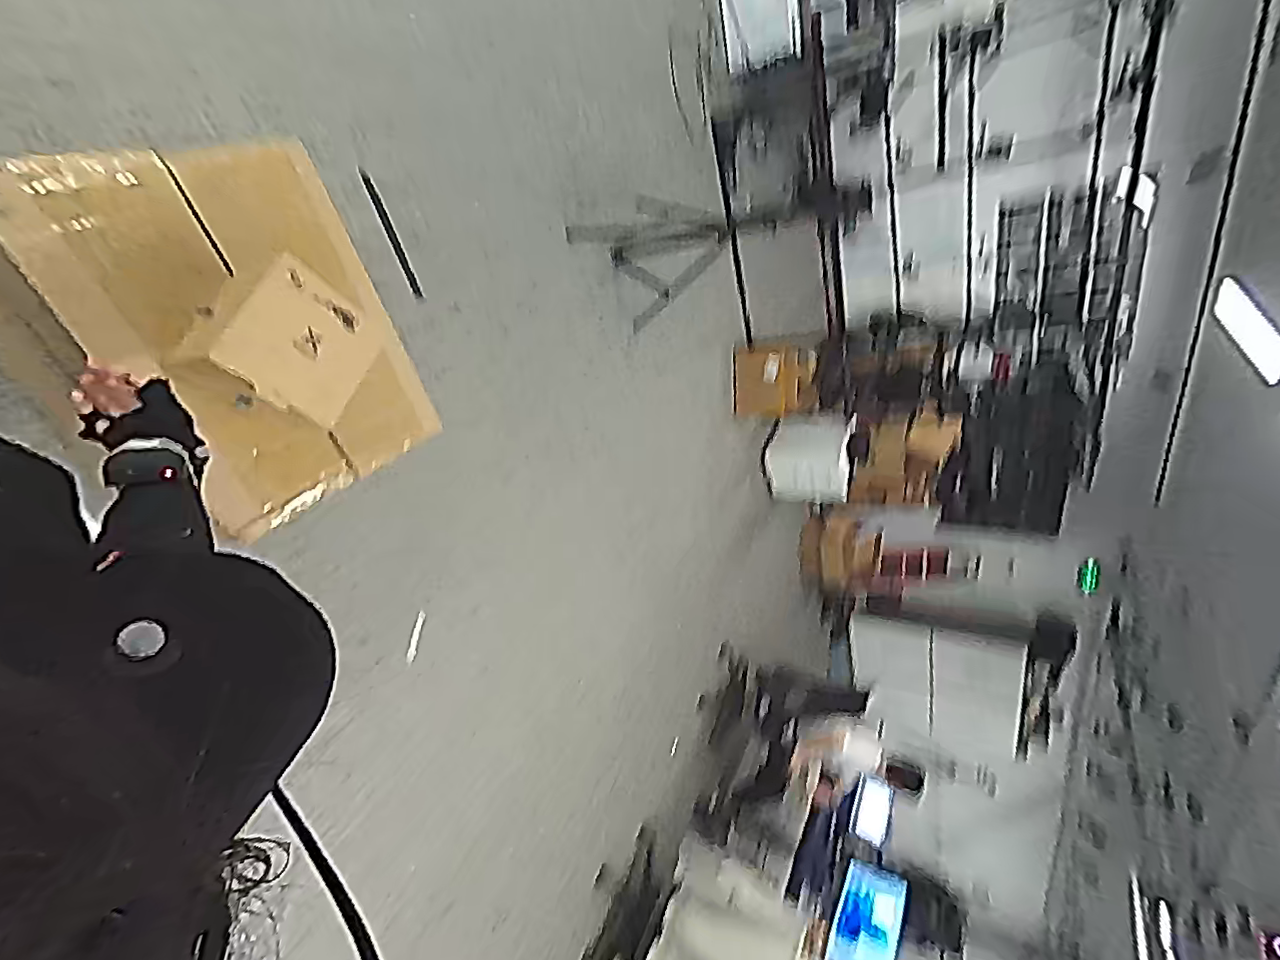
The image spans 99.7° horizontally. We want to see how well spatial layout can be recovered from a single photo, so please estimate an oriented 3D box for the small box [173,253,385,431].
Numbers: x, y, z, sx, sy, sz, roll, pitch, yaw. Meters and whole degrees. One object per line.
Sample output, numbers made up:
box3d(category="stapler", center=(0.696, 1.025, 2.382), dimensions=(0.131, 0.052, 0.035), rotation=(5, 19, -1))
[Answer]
box3d(category="small box", center=(-0.515, -0.187, 0.770), dimensions=(0.168, 0.176, 0.179), rotation=(46, 57, -47))
